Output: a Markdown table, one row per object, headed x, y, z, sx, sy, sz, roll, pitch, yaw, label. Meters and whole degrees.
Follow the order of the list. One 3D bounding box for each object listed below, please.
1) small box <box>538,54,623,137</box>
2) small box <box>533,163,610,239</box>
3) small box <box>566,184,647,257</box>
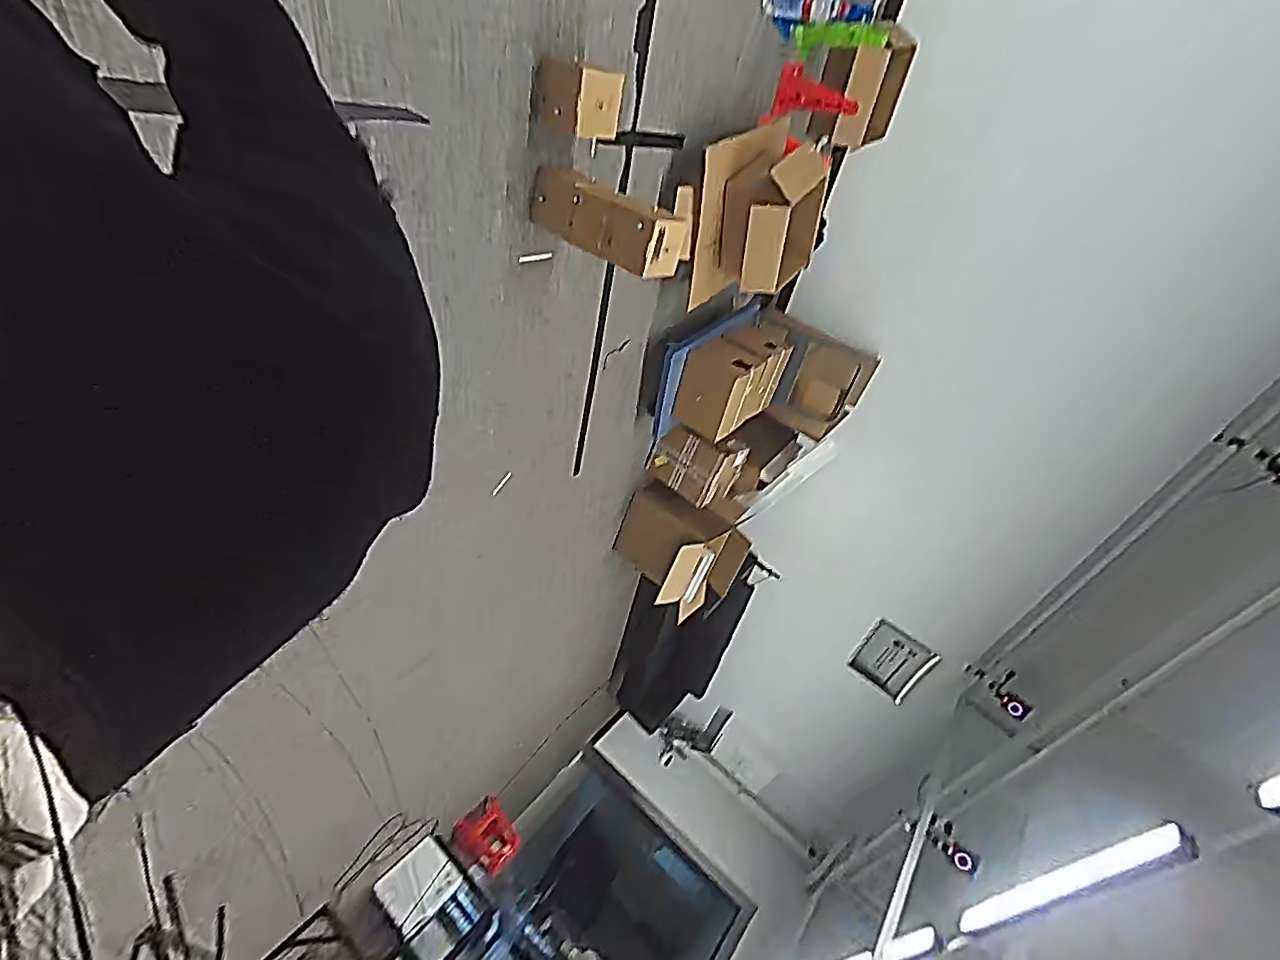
| x | y | z | sx | sy | sz | roll | pitch | yaw | label |
| --- | --- | --- | --- | --- | --- | --- | --- | --- | --- |
| -0.179 | -1.128 | 1.587 | 0.179 | 0.176 | 0.168 | -34 | 151 | -42 | small box |
| -0.231 | -0.913 | 1.778 | 0.168 | 0.176 | 0.179 | -28 | 146 | -46 | small box |
| -0.111 | -0.821 | 1.711 | 0.179 | 0.176 | 0.168 | -31 | 147 | -46 | small box |
